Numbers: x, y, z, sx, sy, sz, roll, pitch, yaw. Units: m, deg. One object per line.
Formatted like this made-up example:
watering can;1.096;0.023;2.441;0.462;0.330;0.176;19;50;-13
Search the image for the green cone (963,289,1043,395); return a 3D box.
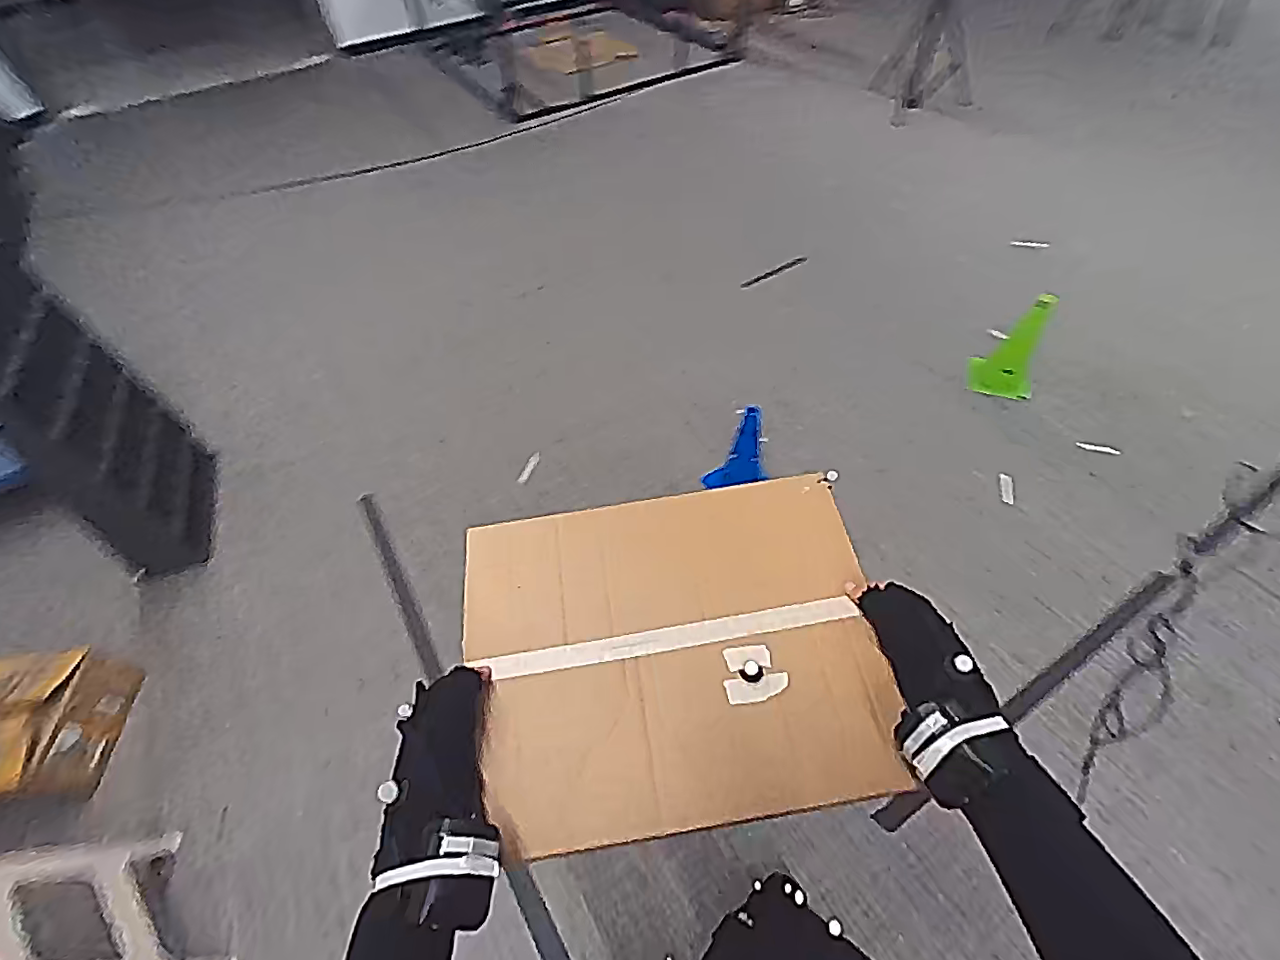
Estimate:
green cone;1.327;-0.510;1.921;0.202;0.368;0.200;13;54;15
